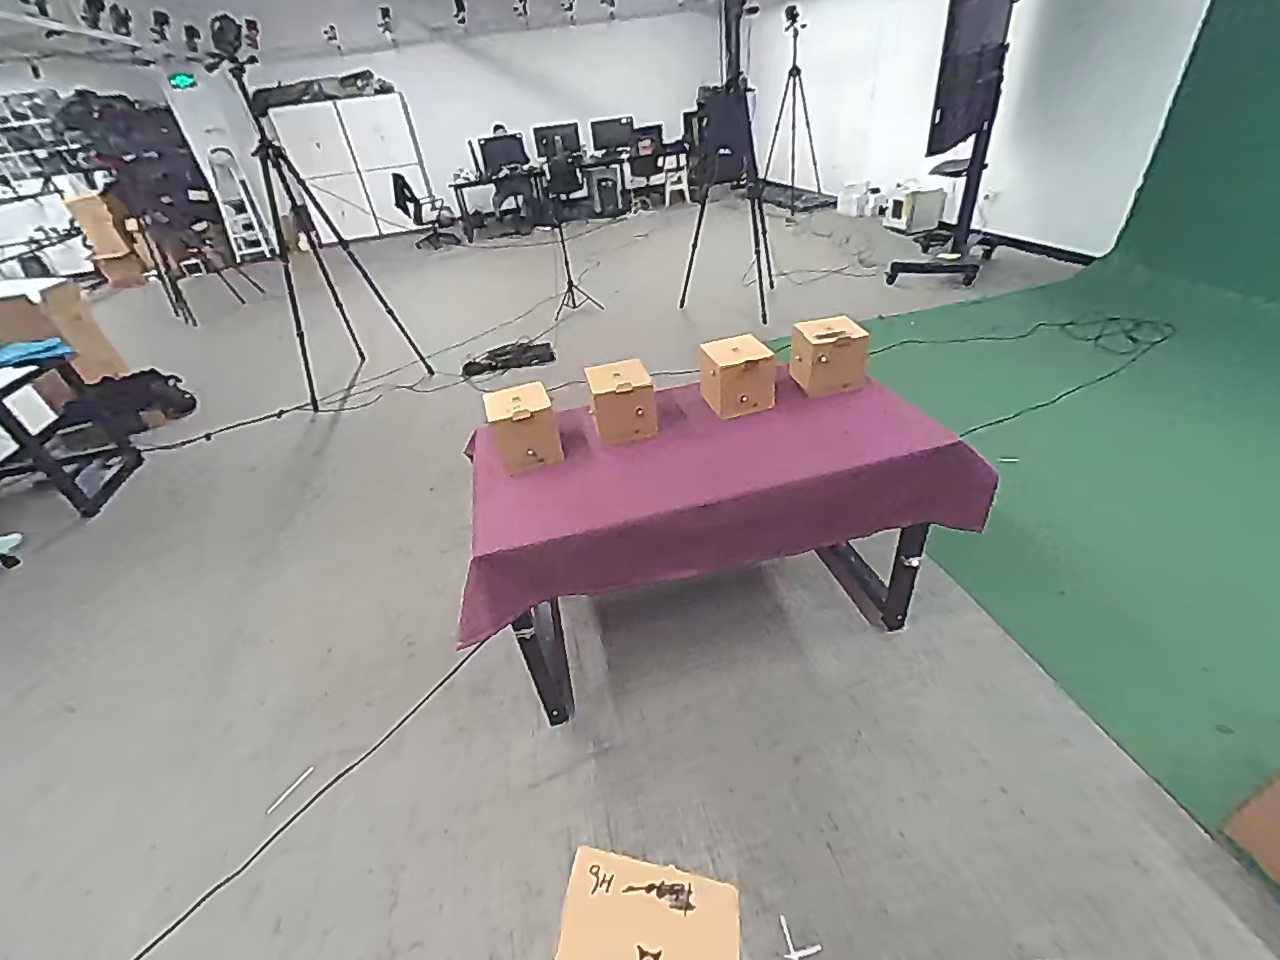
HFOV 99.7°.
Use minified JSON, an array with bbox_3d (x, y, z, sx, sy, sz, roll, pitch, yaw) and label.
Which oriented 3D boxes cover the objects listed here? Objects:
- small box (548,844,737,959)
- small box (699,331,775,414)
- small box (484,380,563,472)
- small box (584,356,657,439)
[{"bbox_3d":[-0.011,0.492,0.507,0.168,0.176,0.179,13,32,2],"label":"small box"},{"bbox_3d":[0.281,-0.316,1.586,0.168,0.176,0.179,-15,37,-8],"label":"small box"},{"bbox_3d":[-0.317,-0.148,1.477,0.168,0.176,0.179,-17,37,-11],"label":"small box"},{"bbox_3d":[-0.054,-0.228,1.536,0.168,0.176,0.179,-12,36,-7],"label":"small box"}]
